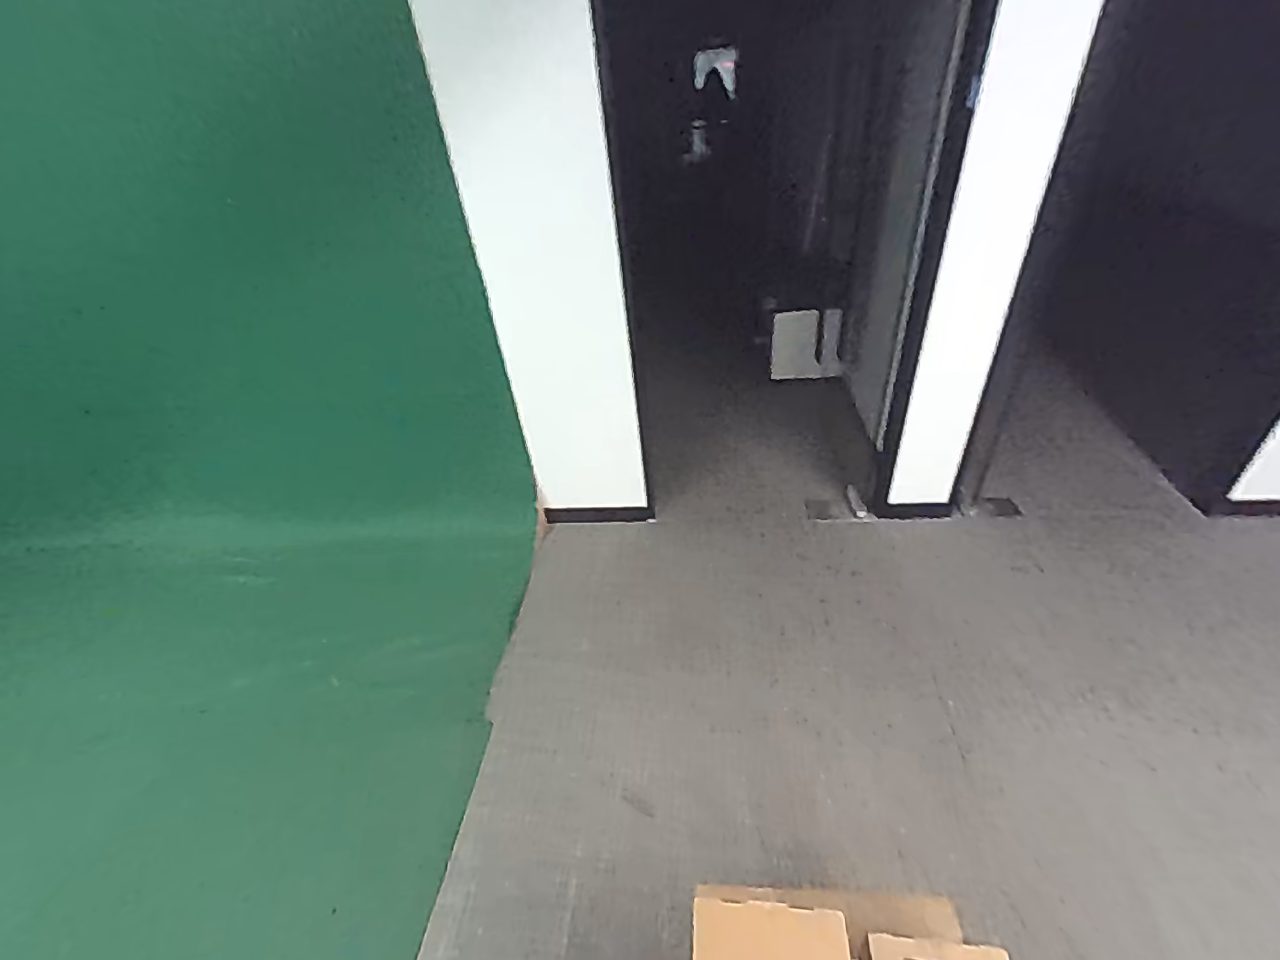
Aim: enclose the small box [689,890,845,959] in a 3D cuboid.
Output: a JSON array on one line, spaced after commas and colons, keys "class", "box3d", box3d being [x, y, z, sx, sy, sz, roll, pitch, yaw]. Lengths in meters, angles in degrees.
[{"class": "small box", "box3d": [0.139, 0.593, 0.602, 0.168, 0.176, 0.179, 0, 39, 7]}]
